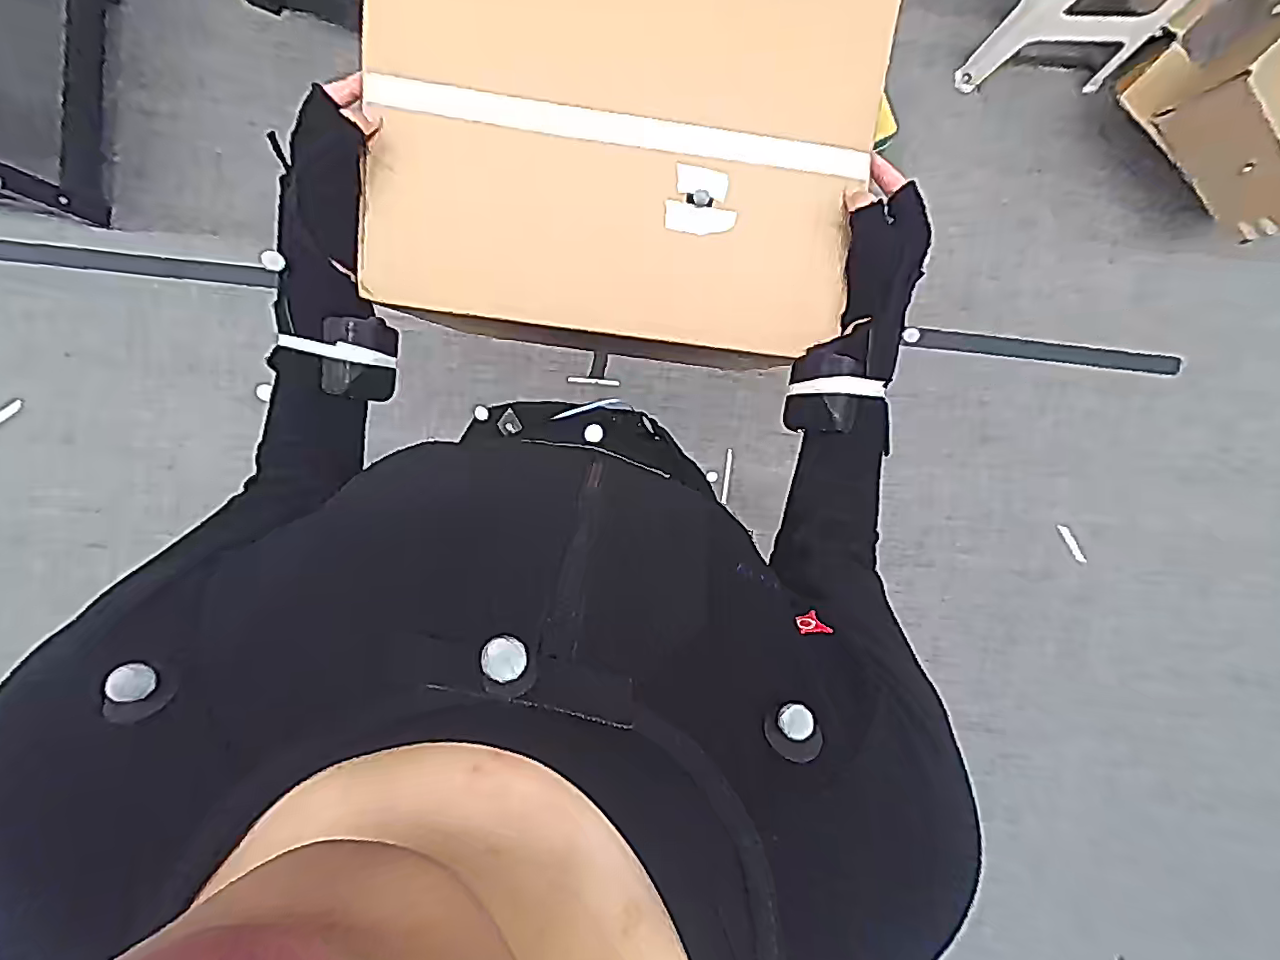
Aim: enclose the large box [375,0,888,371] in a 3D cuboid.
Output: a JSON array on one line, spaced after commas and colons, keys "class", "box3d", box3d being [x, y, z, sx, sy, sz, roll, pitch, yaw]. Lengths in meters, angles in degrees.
[{"class": "large box", "box3d": [-0.022, -0.299, 0.590, 0.408, 0.320, 0.320, 6, 101, -5]}]
